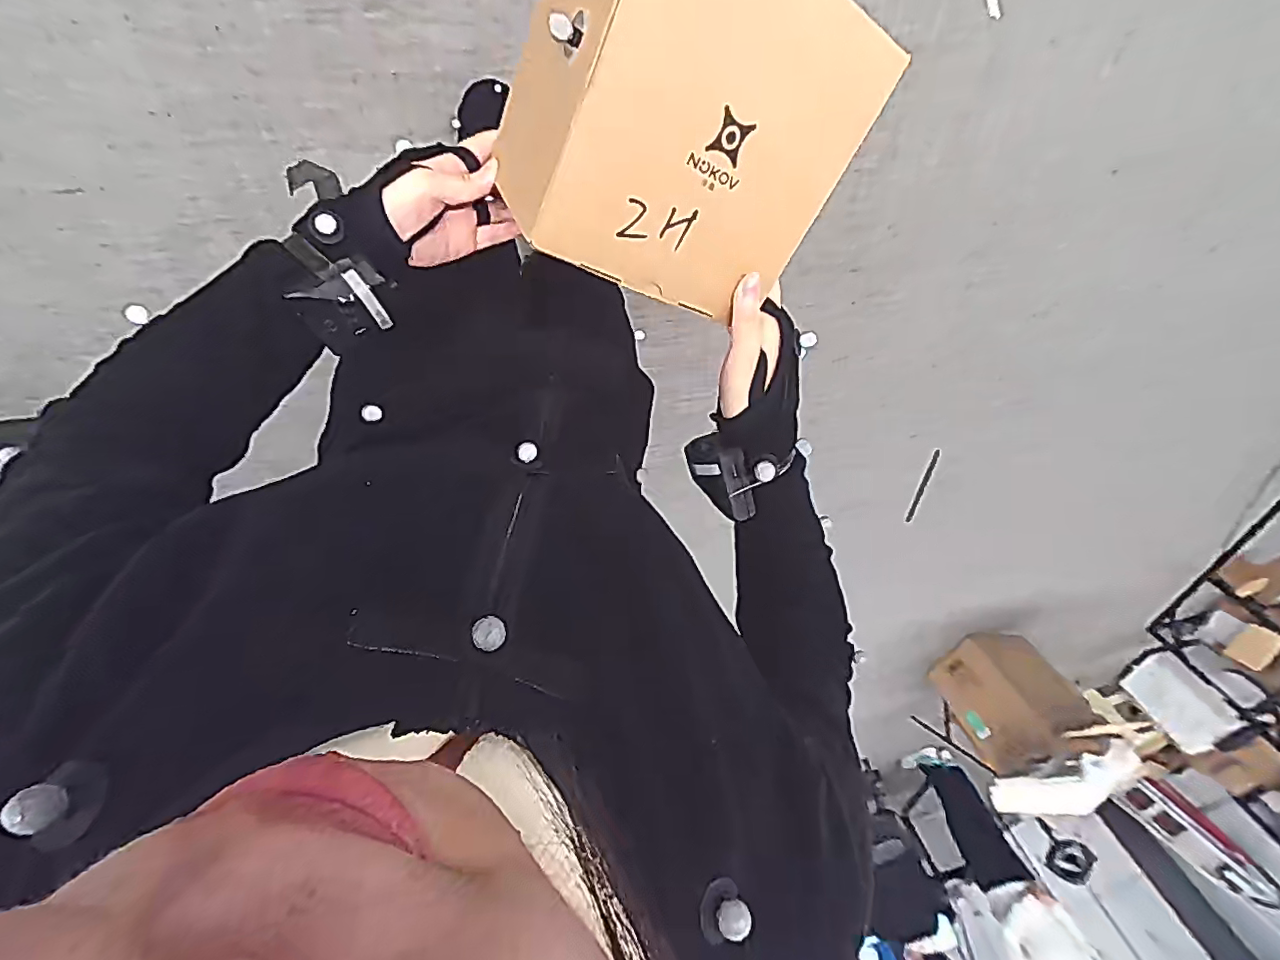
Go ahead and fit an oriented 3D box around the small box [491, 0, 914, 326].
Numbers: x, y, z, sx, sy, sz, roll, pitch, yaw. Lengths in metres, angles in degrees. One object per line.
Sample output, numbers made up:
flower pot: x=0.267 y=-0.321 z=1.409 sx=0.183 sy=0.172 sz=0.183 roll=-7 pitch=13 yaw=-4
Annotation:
small box: x=0.016 y=-0.233 z=0.341 sx=0.168 sy=0.176 sz=0.179 roll=10 pitch=126 yaw=-33
